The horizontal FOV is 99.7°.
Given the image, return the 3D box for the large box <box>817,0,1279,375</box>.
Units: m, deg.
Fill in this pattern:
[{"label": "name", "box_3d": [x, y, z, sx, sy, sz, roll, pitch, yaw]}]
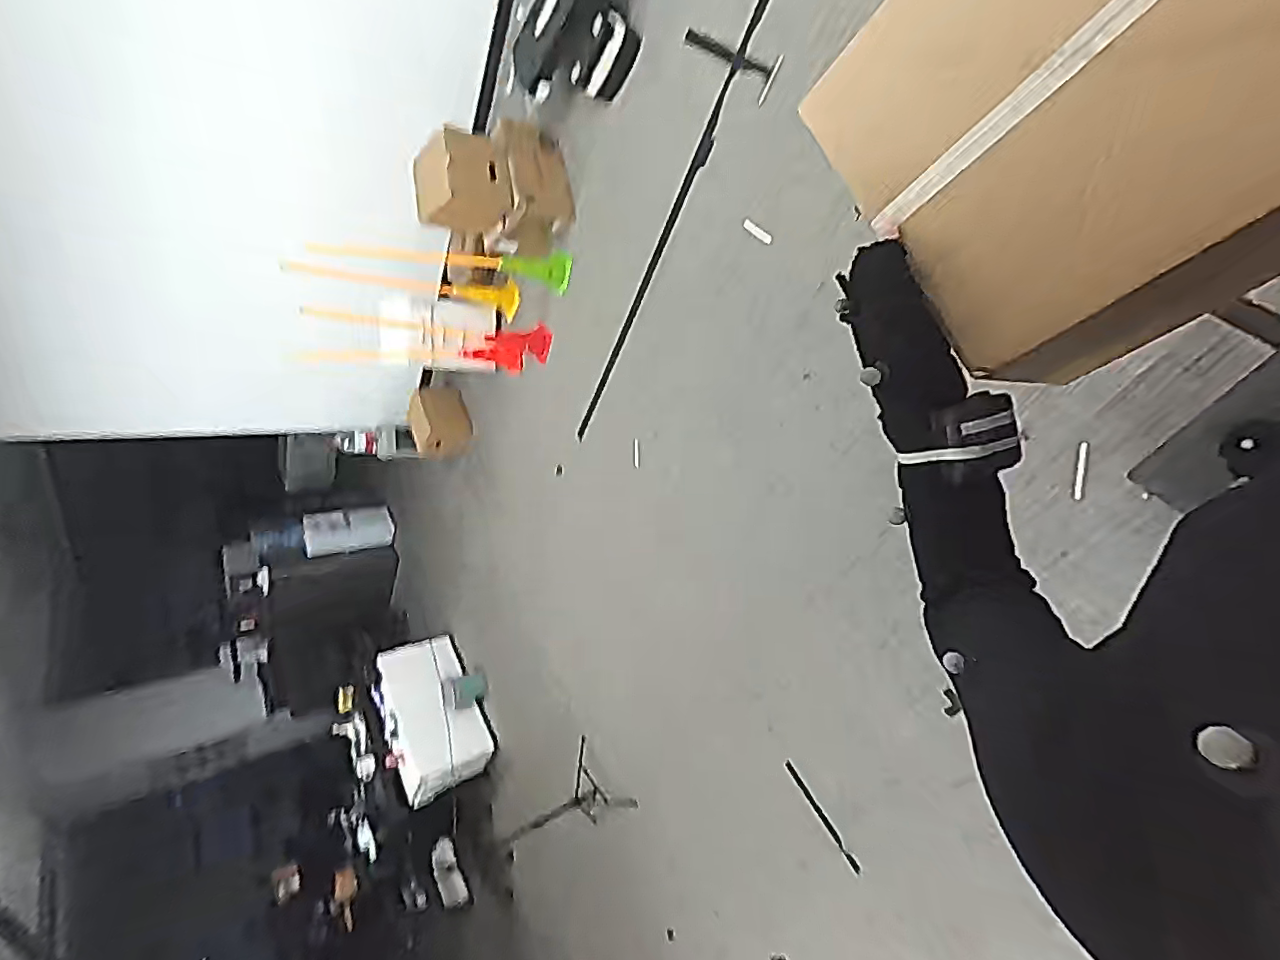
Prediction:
[{"label": "large box", "box_3d": [0.440, -0.330, 0.434, 0.408, 0.320, 0.320, -38, 68, 43]}]
